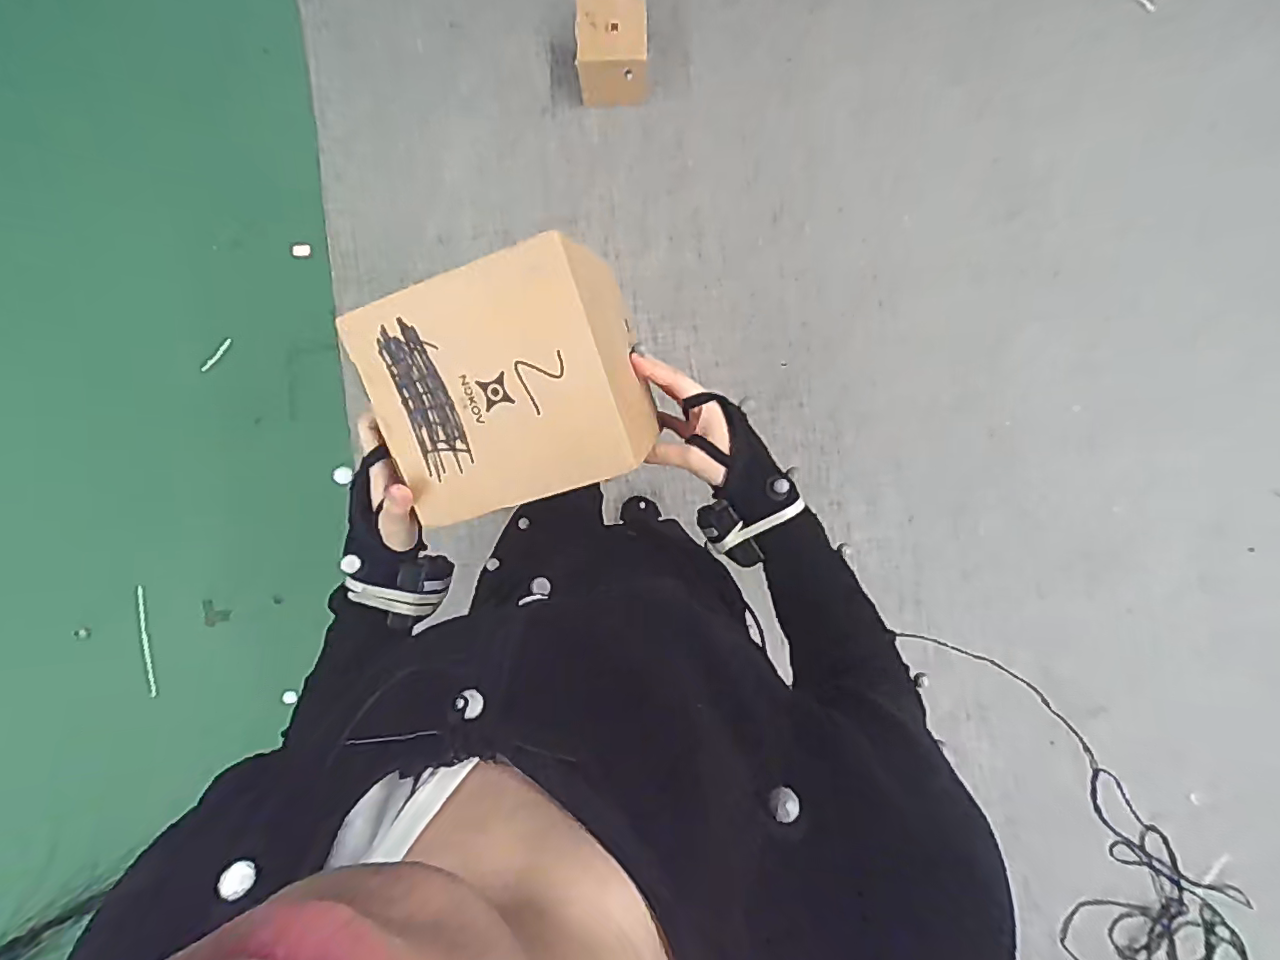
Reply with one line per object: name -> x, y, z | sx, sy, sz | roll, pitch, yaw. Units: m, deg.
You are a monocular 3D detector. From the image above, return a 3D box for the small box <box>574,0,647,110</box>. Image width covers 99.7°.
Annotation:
small box -> -0.073, -1.093, 1.399 | 0.179, 0.176, 0.168 | -2, 91, 1
